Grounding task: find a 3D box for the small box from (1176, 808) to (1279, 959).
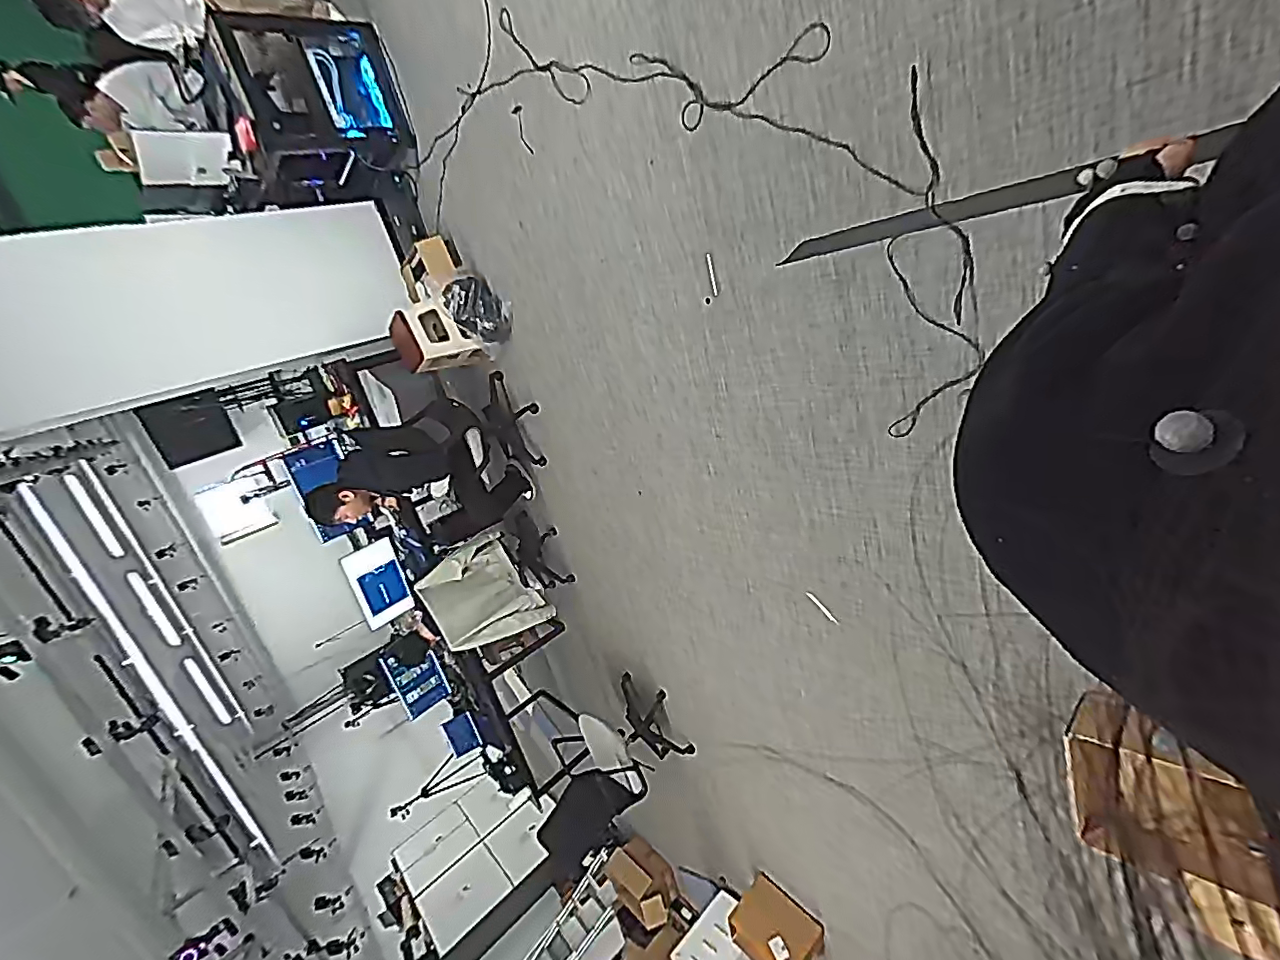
[{"bbox_3d":[1.273,0.858,1.152,0.168,0.176,0.179,2,115,51],"label":"small box"}]
